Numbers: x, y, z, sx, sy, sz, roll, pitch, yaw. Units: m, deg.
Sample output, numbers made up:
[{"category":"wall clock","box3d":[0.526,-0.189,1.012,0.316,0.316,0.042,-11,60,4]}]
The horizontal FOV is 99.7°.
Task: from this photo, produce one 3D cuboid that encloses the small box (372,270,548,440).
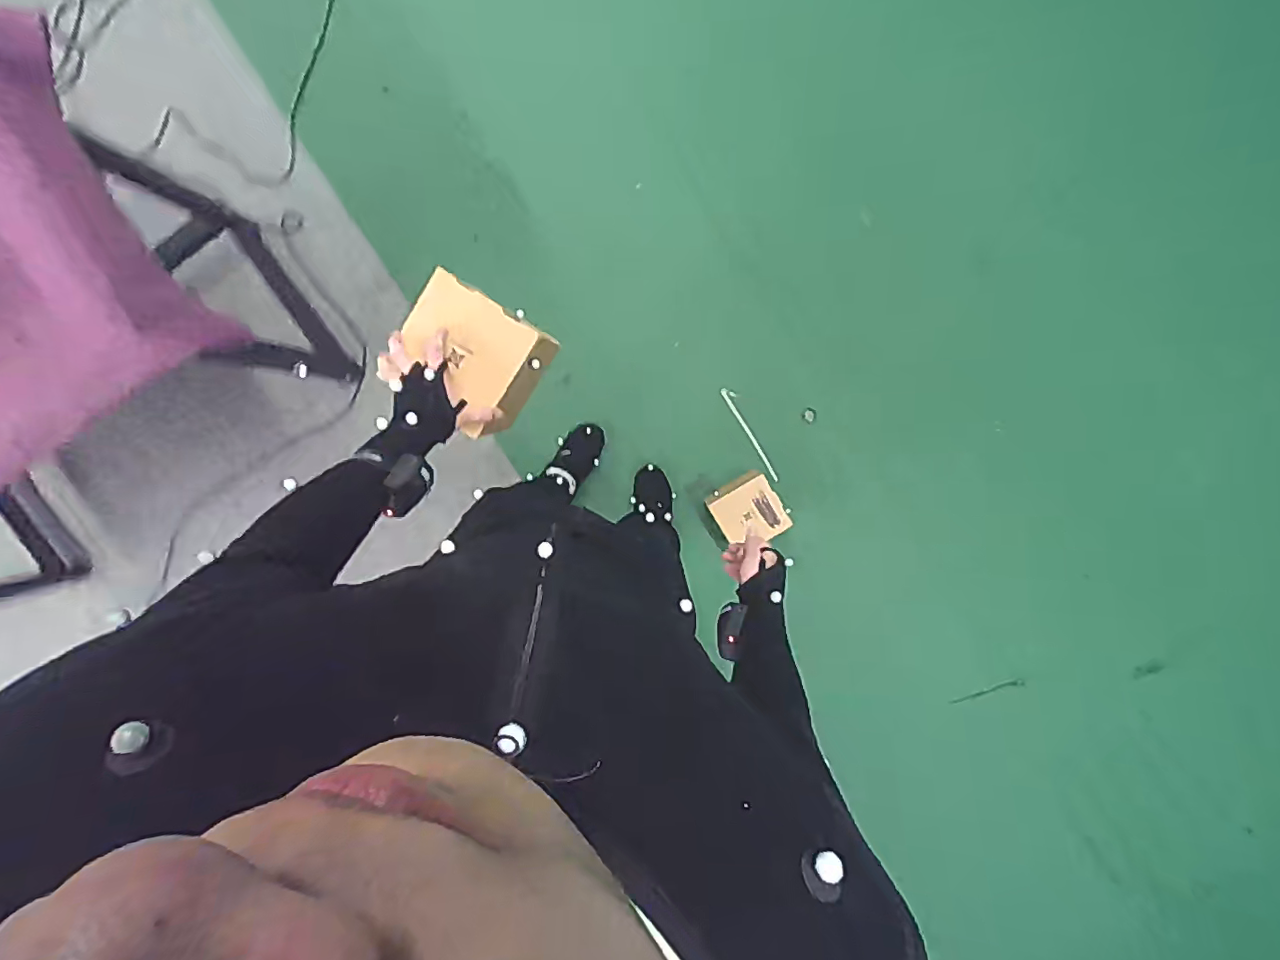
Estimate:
[{"category":"small box","box3d":[-0.257,-0.179,0.820,0.168,0.176,0.179,32,97,-3]}]
